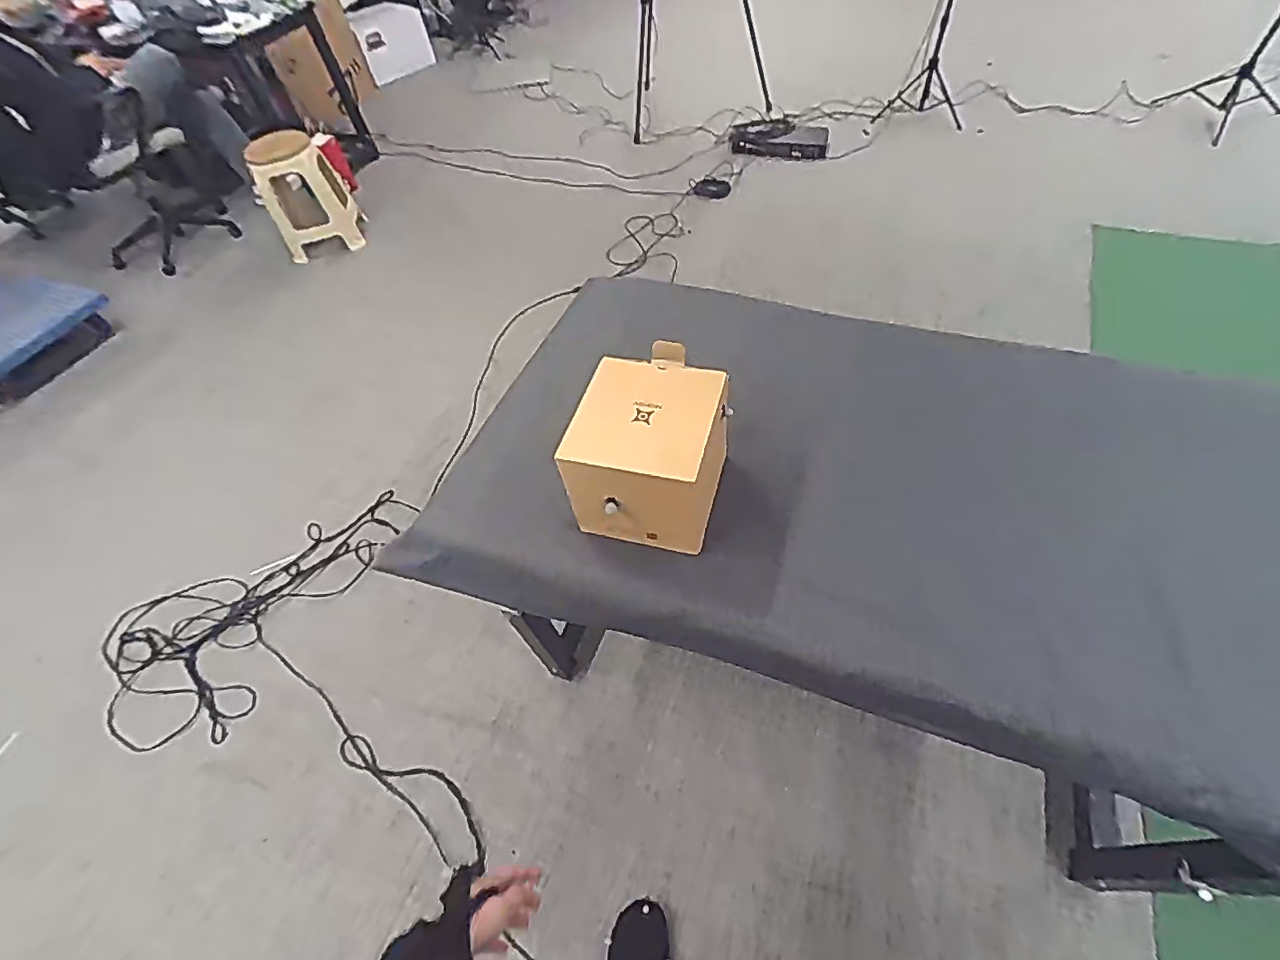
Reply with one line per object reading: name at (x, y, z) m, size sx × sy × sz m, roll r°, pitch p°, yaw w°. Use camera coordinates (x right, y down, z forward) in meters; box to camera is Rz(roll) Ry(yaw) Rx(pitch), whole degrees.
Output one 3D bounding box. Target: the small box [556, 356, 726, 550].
small box at (0.013, -0.031, 0.698) m, size 0.168 × 0.176 × 0.179 m, roll 10°, pitch 55°, yaw 14°
